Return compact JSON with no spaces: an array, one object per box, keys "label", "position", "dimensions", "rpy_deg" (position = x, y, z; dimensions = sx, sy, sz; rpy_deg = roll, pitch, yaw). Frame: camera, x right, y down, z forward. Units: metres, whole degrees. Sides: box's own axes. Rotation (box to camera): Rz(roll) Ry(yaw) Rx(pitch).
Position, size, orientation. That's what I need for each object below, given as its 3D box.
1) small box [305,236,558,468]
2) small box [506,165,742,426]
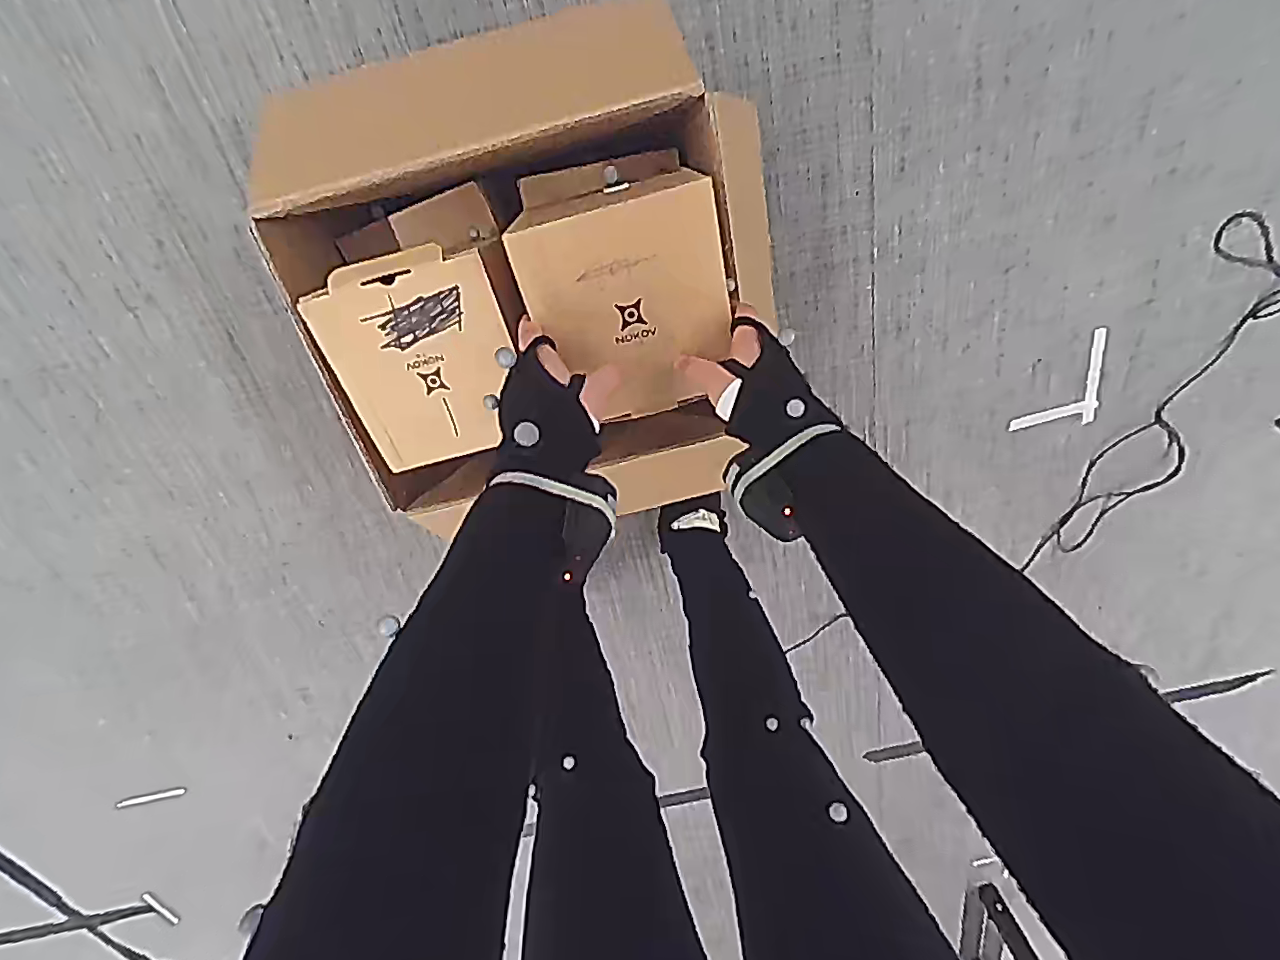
[{"label":"small box","position":[-0.189,-0.140,0.556],"dimensions":[0.168,0.176,0.179],"rpy_deg":[-13,120,4]},{"label":"small box","position":[-0.010,-0.180,0.514],"dimensions":[0.168,0.176,0.179],"rpy_deg":[-14,122,3]}]
